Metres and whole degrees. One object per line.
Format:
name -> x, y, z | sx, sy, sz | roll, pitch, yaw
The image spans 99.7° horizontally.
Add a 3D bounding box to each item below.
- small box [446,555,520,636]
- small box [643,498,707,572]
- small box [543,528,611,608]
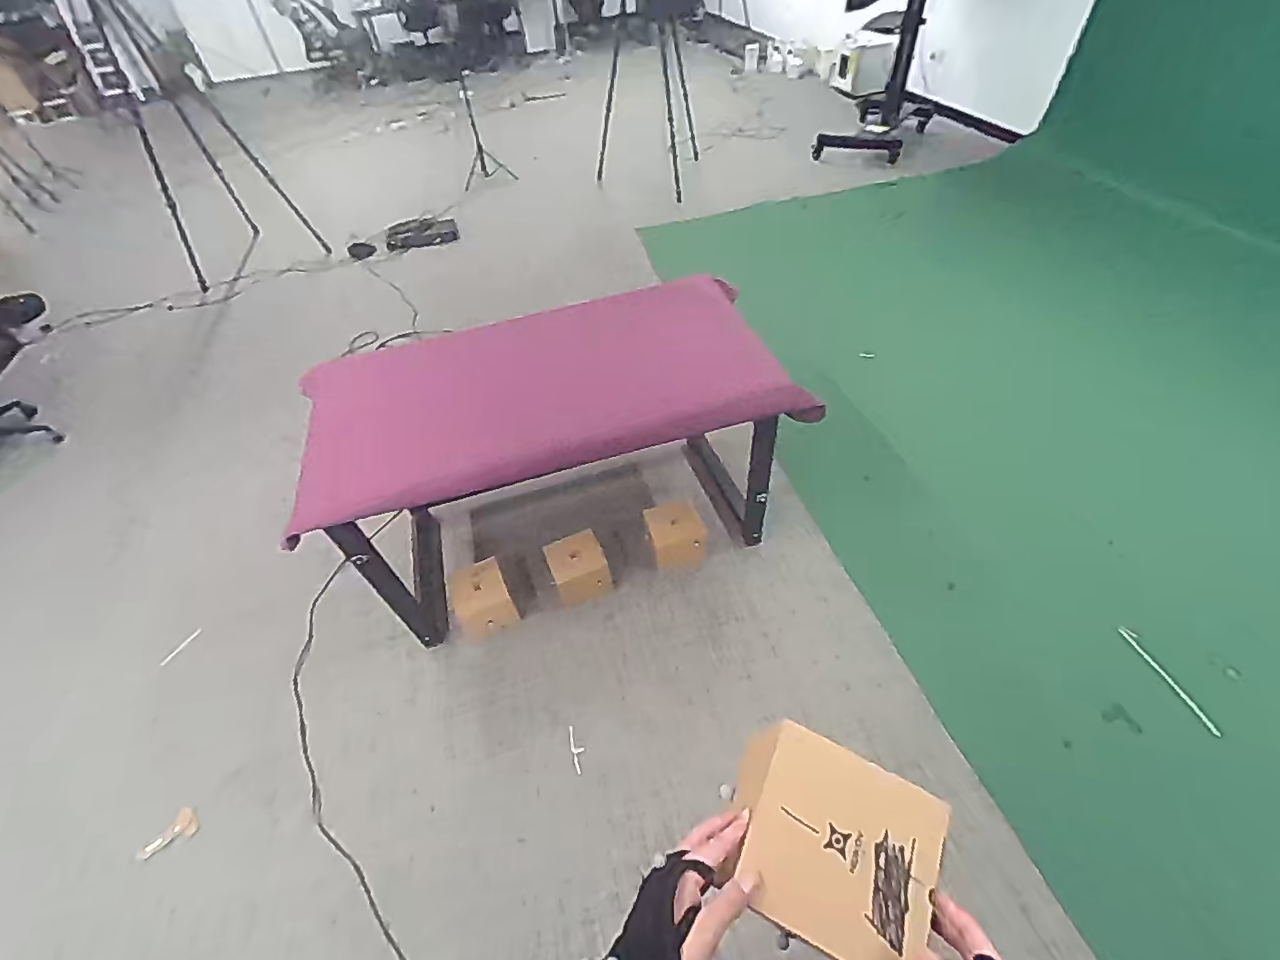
small box -> -0.504, 0.382, 1.750 | 0.168, 0.176, 0.179 | -22, 50, -13
small box -> 0.122, 0.192, 1.859 | 0.179, 0.176, 0.168 | -15, 48, -8
small box -> -0.203, 0.294, 1.800 | 0.179, 0.176, 0.168 | -21, 49, -12
